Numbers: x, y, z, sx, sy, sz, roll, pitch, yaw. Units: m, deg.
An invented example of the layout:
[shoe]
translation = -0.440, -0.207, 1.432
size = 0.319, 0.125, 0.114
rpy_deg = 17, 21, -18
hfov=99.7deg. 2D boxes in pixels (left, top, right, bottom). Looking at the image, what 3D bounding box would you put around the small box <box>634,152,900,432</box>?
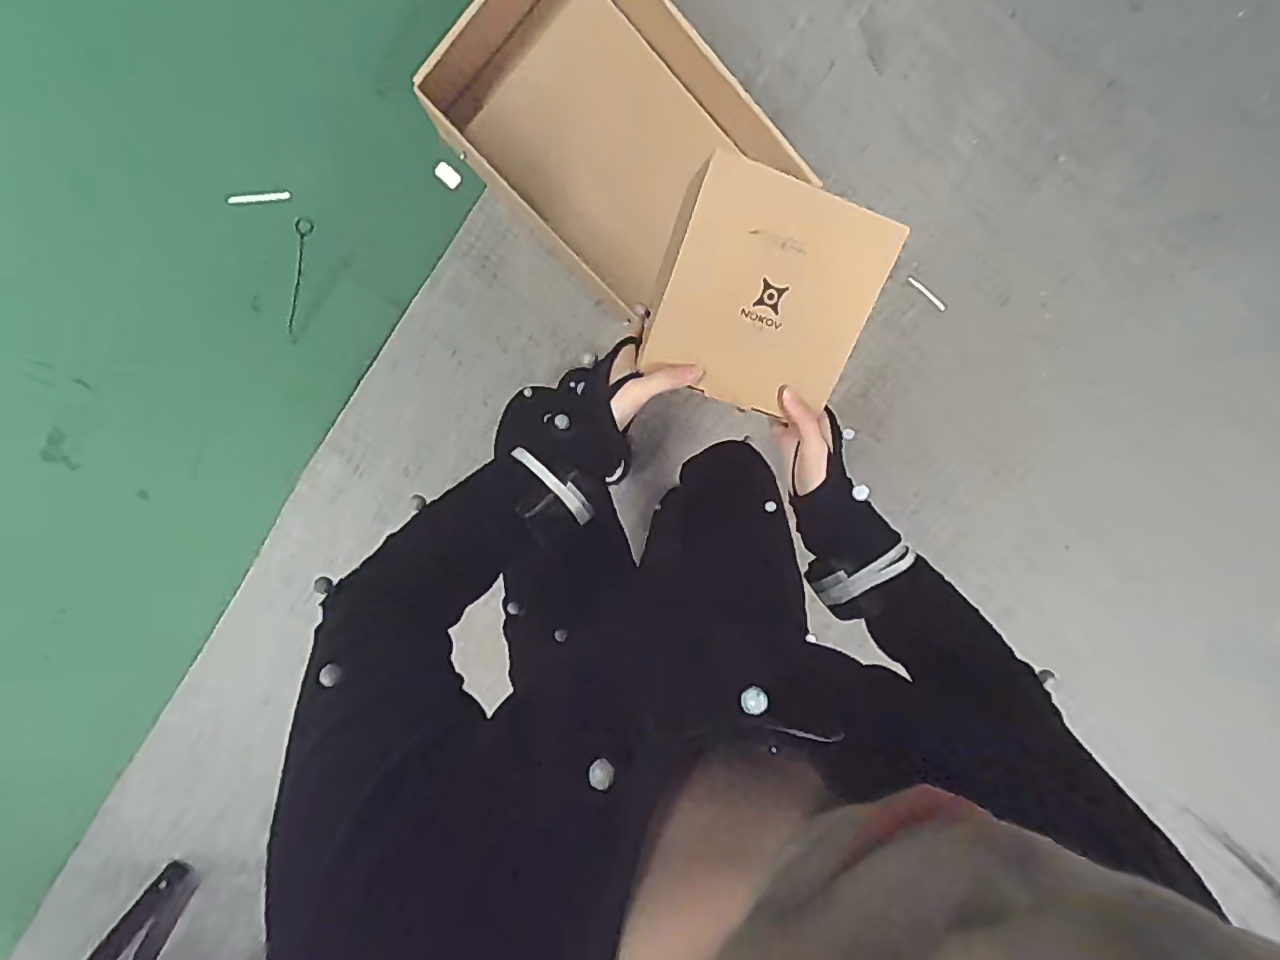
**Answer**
[small box]
translation = 0.099, -0.171, 0.515
size = 0.168, 0.176, 0.179
rpy_deg = 18, 109, -9
